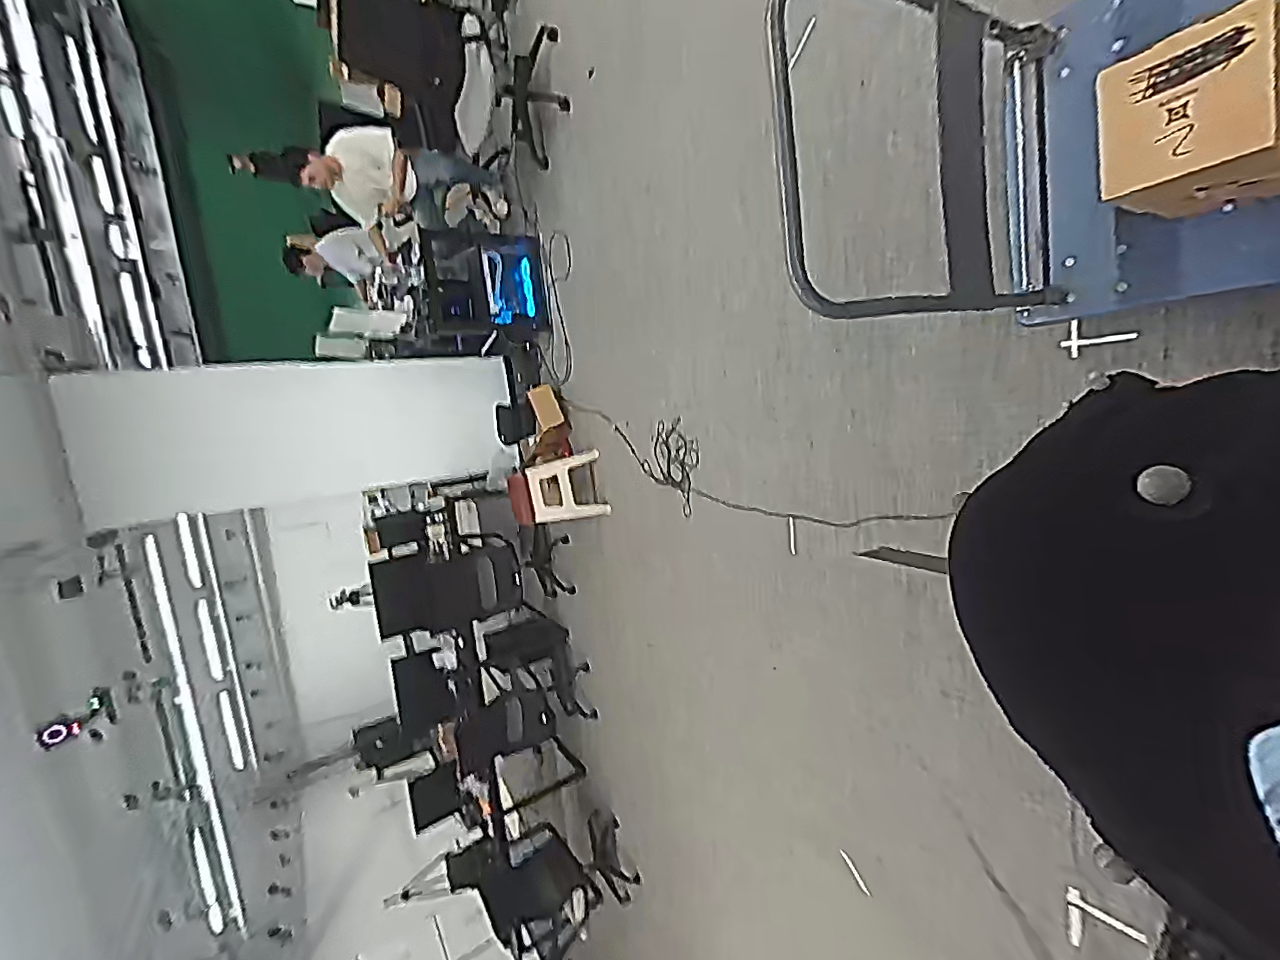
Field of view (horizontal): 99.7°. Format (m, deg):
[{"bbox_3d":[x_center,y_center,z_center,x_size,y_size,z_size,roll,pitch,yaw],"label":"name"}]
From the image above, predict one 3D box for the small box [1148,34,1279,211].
[{"bbox_3d":[0.899,-0.523,0.805,0.168,0.176,0.179,10,109,57],"label":"small box"}]
